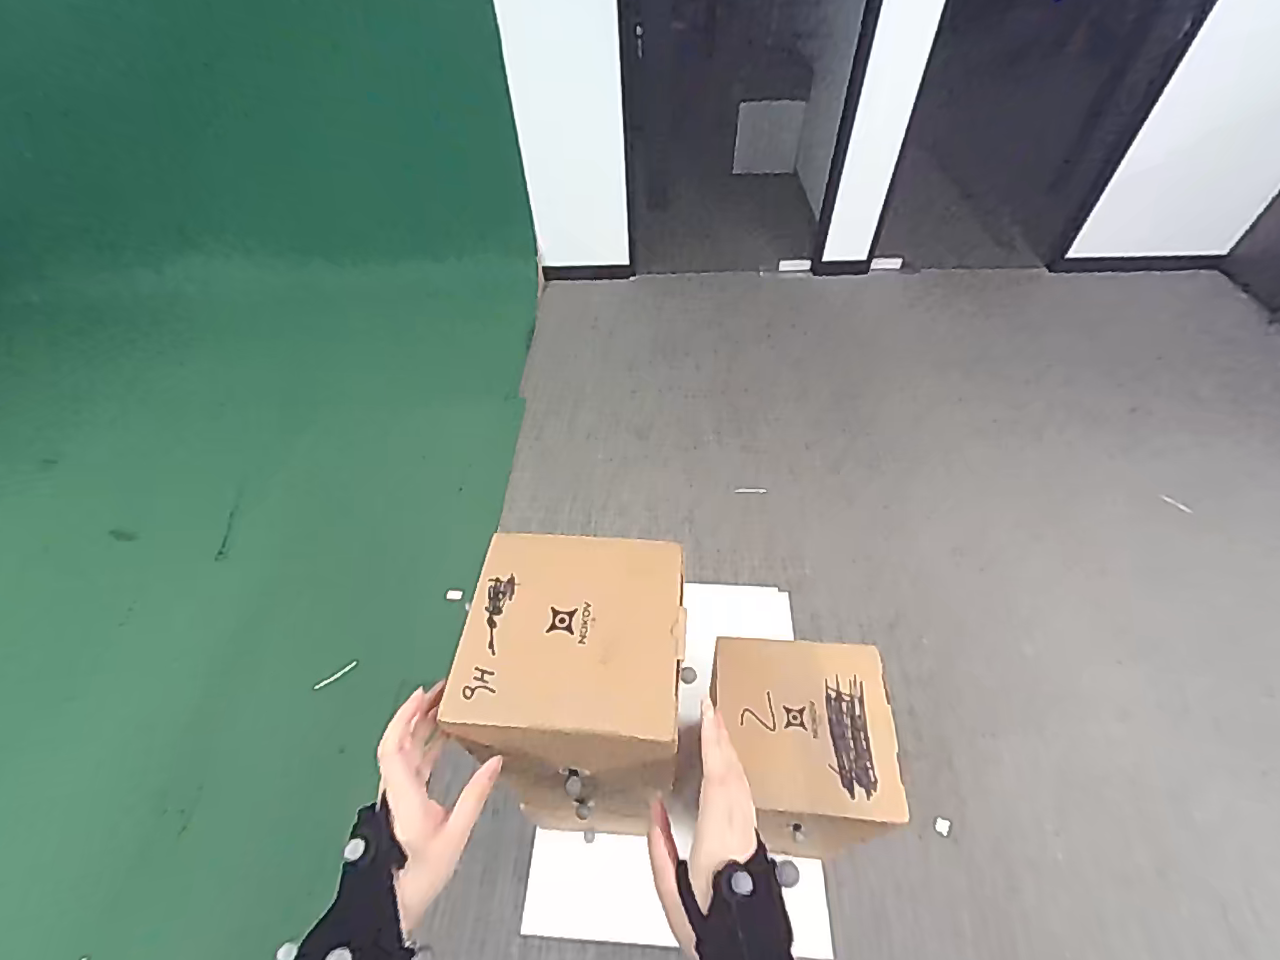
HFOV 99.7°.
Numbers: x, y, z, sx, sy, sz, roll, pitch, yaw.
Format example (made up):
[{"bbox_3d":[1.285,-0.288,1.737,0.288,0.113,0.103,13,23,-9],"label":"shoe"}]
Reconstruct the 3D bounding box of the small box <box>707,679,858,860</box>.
[{"bbox_3d":[0.177,0.392,0.731,0.168,0.176,0.179,2,50,6],"label":"small box"}]

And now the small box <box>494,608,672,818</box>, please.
[{"bbox_3d":[-0.053,0.271,0.628,0.168,0.176,0.179,3,50,4],"label":"small box"}]

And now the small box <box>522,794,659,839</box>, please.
[{"bbox_3d":[-0.054,0.380,0.751,0.168,0.176,0.179,2,51,3],"label":"small box"}]
